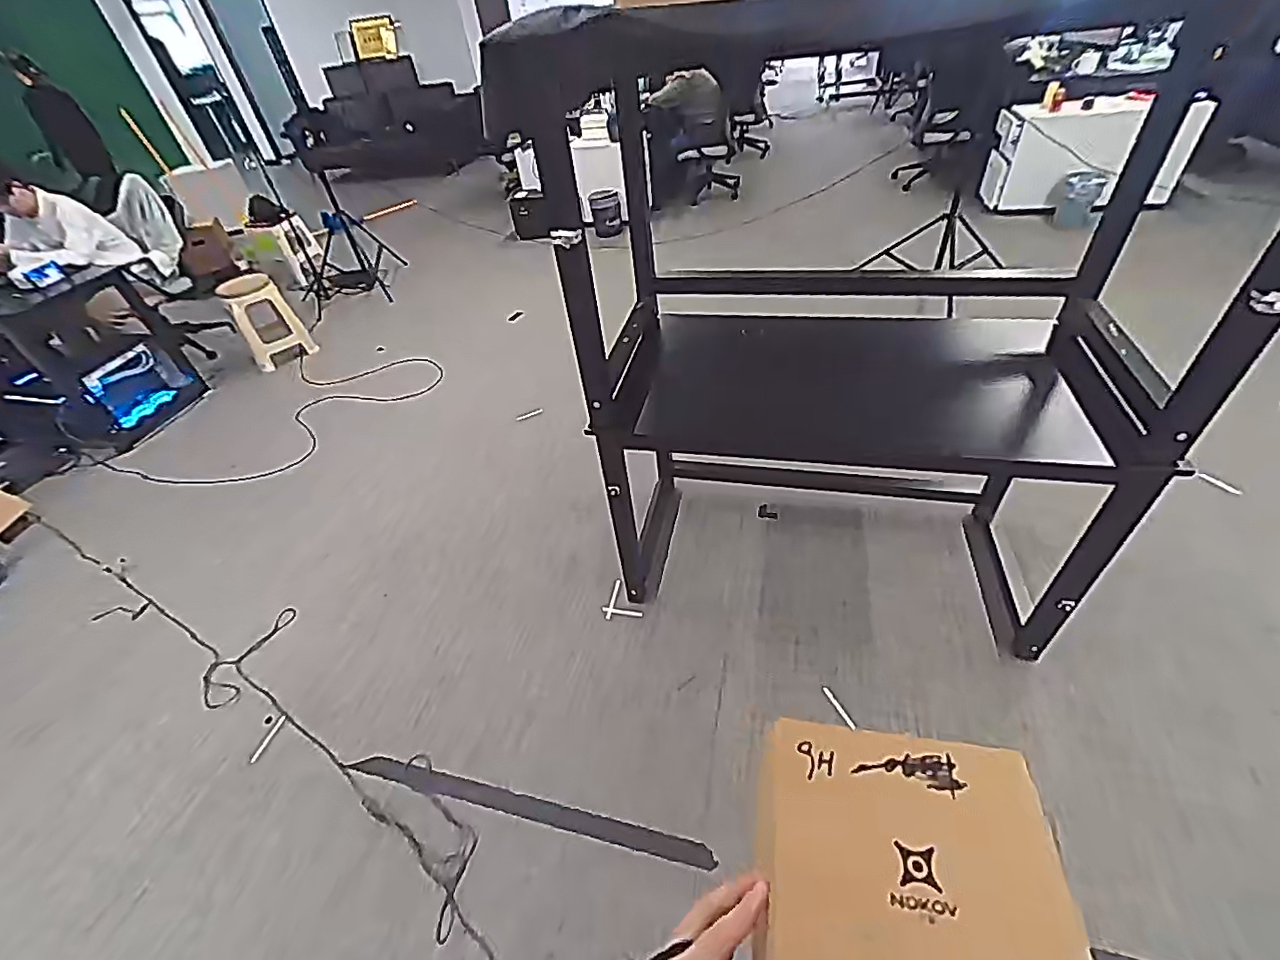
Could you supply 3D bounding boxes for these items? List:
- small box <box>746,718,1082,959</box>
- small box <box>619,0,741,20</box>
[{"bbox_3d":[0.164,0.294,0.369,0.168,0.176,0.179,5,44,9],"label":"small box"},{"bbox_3d":[0.058,-0.770,0.764,0.168,0.176,0.179,6,41,13],"label":"small box"}]
